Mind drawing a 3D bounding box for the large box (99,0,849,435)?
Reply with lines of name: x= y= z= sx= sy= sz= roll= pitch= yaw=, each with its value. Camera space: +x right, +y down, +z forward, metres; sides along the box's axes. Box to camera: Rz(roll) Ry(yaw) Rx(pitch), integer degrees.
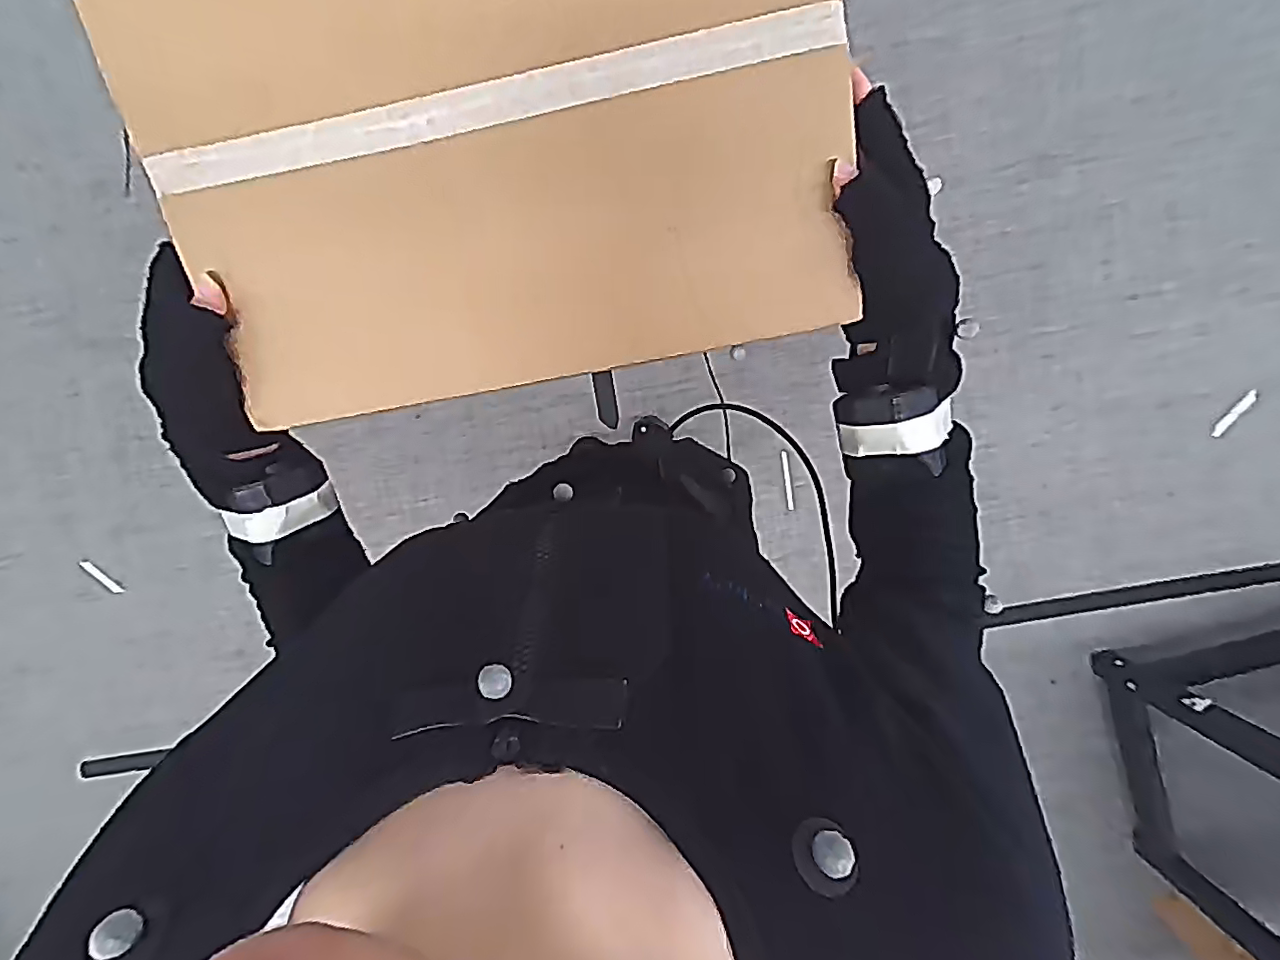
large box: x=-0.084 y=-0.255 z=0.458 sx=0.408 sy=0.320 sz=0.320 roll=-10 pitch=106 yaw=4
